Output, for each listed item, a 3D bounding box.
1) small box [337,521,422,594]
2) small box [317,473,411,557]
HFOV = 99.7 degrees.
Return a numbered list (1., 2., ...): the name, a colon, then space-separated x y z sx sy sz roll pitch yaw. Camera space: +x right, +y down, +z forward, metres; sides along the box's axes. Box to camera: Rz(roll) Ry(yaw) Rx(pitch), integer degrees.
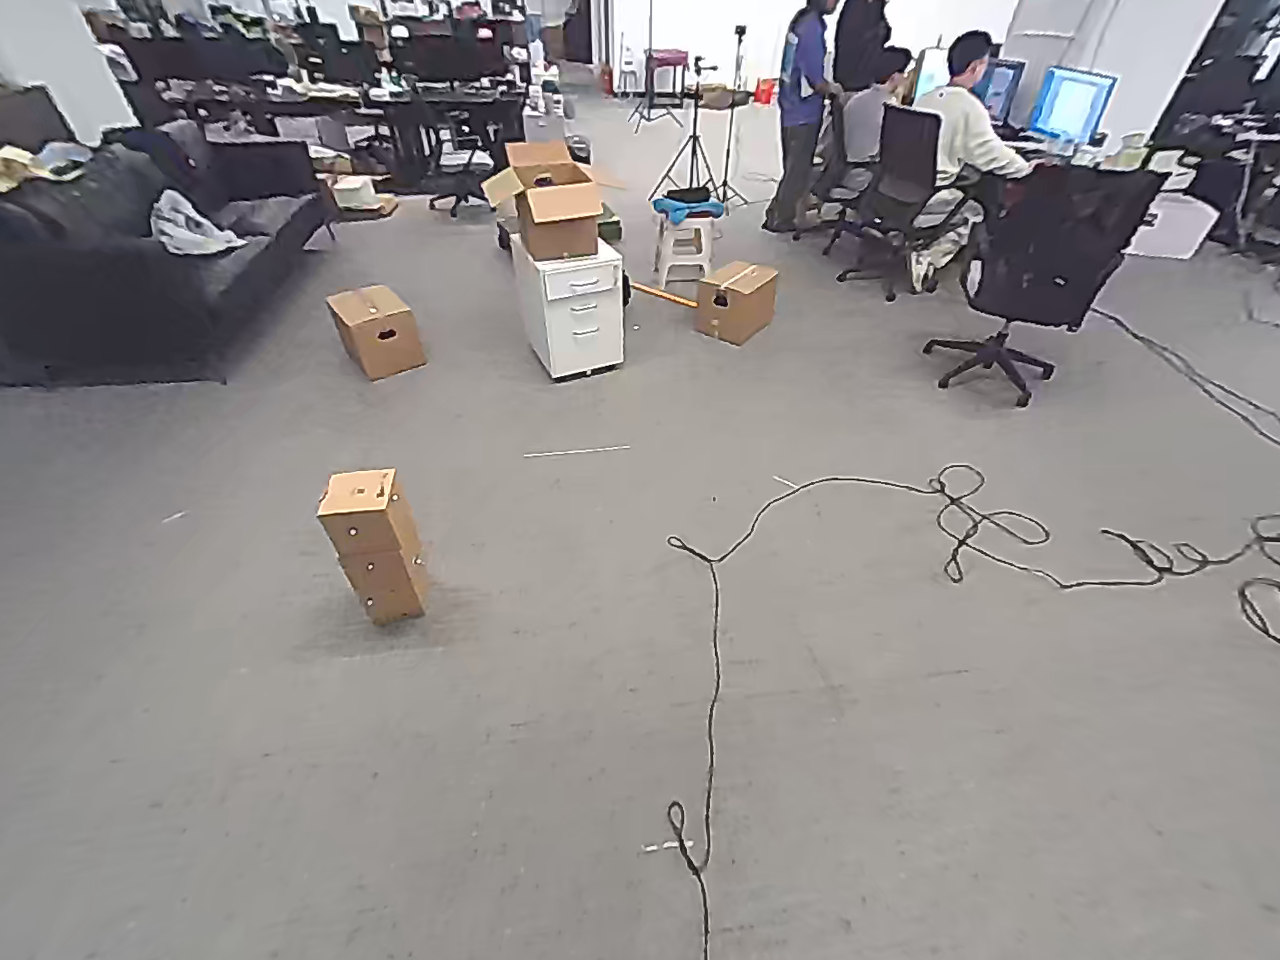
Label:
1. small box: -0.782 0.230 1.639 0.179 0.176 0.168 -5 42 -8
2. small box: -0.775 0.102 1.537 0.179 0.176 0.168 -6 43 -7
